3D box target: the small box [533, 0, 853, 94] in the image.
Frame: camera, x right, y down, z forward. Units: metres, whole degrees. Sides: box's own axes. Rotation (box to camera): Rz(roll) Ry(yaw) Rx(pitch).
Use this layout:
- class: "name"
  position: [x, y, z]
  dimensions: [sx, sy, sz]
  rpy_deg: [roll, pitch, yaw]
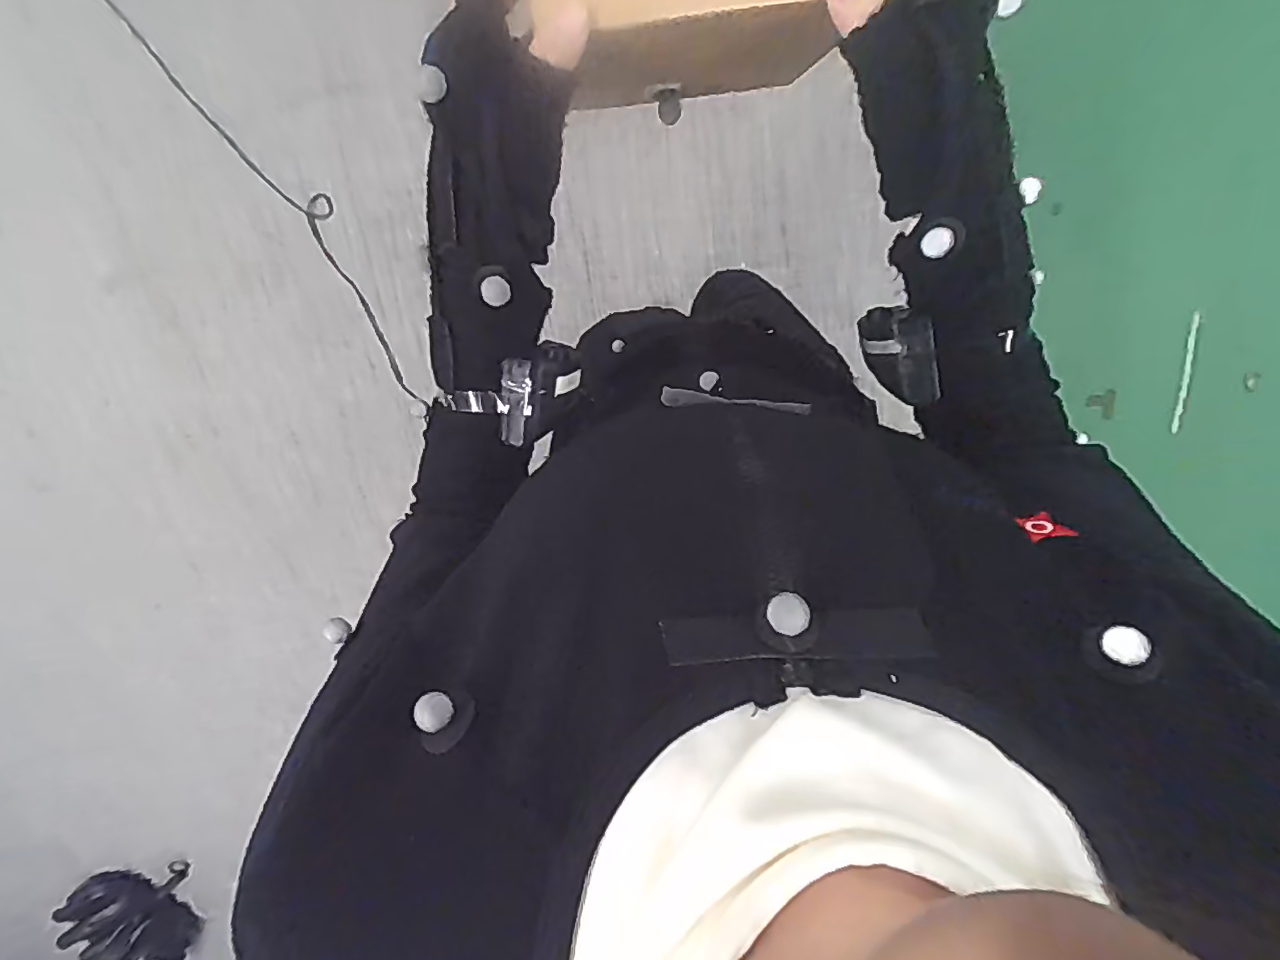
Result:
- class: "small box"
  position: [0.017, -0.327, 0.274]
  dimensions: [0.168, 0.176, 0.179]
  rpy_deg: [-7, 115, 0]
